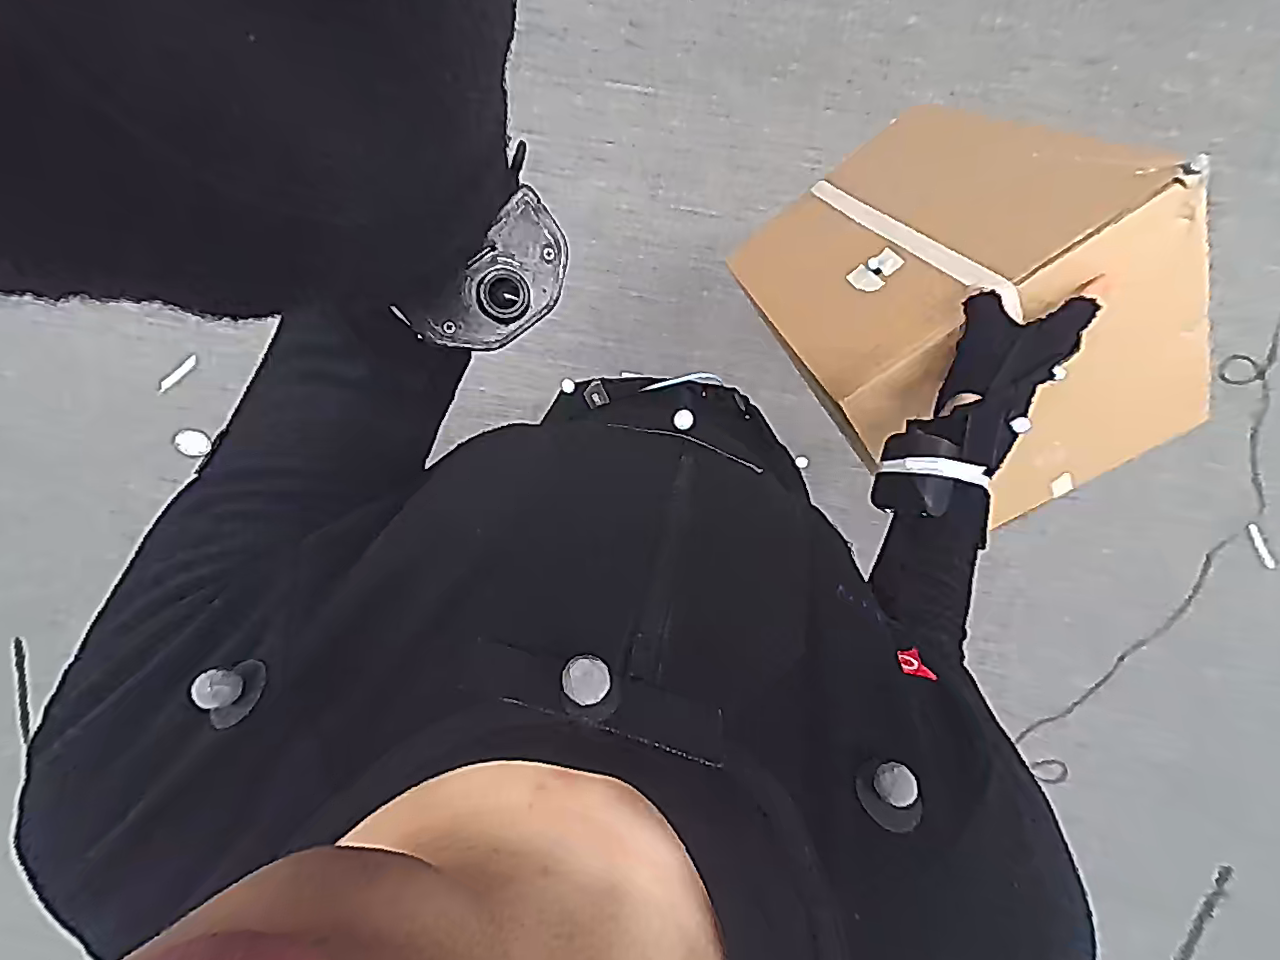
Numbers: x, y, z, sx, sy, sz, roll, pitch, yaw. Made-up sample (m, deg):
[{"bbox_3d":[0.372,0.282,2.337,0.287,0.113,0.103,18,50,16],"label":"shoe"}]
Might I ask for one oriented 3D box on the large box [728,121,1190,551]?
[{"bbox_3d":[0.369,-0.191,0.705,0.320,0.408,0.320,-35,128,18],"label":"large box"}]
